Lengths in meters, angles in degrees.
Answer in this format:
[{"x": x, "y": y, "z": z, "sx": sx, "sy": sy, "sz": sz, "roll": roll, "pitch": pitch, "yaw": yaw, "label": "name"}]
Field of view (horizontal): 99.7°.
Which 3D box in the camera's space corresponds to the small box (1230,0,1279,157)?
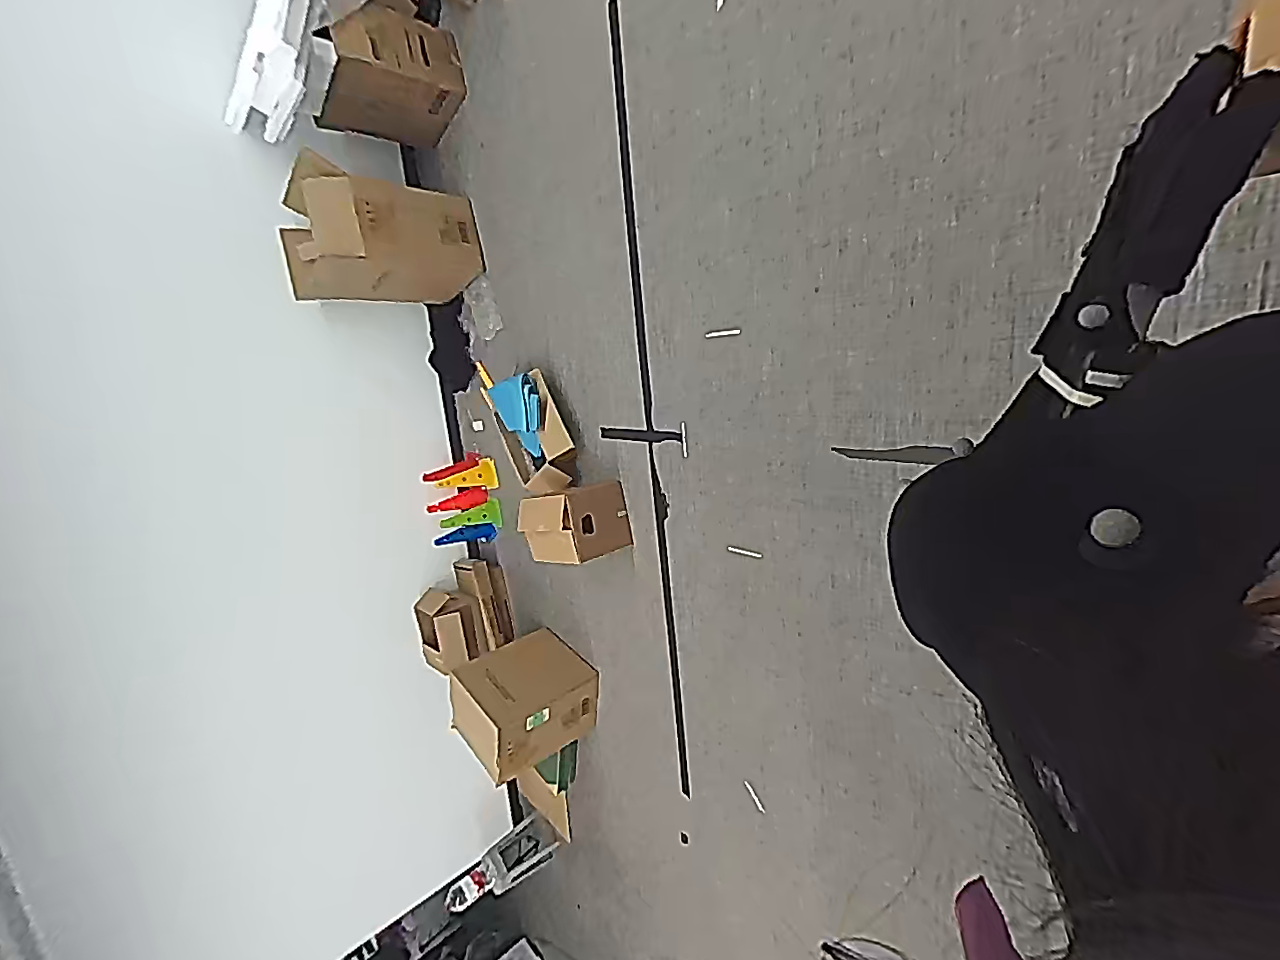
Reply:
[{"x": 0.456, "y": -0.316, "z": 0.293, "sx": 0.168, "sy": 0.176, "sz": 0.179, "roll": 7, "pitch": 100, "yaw": 43, "label": "small box"}]
